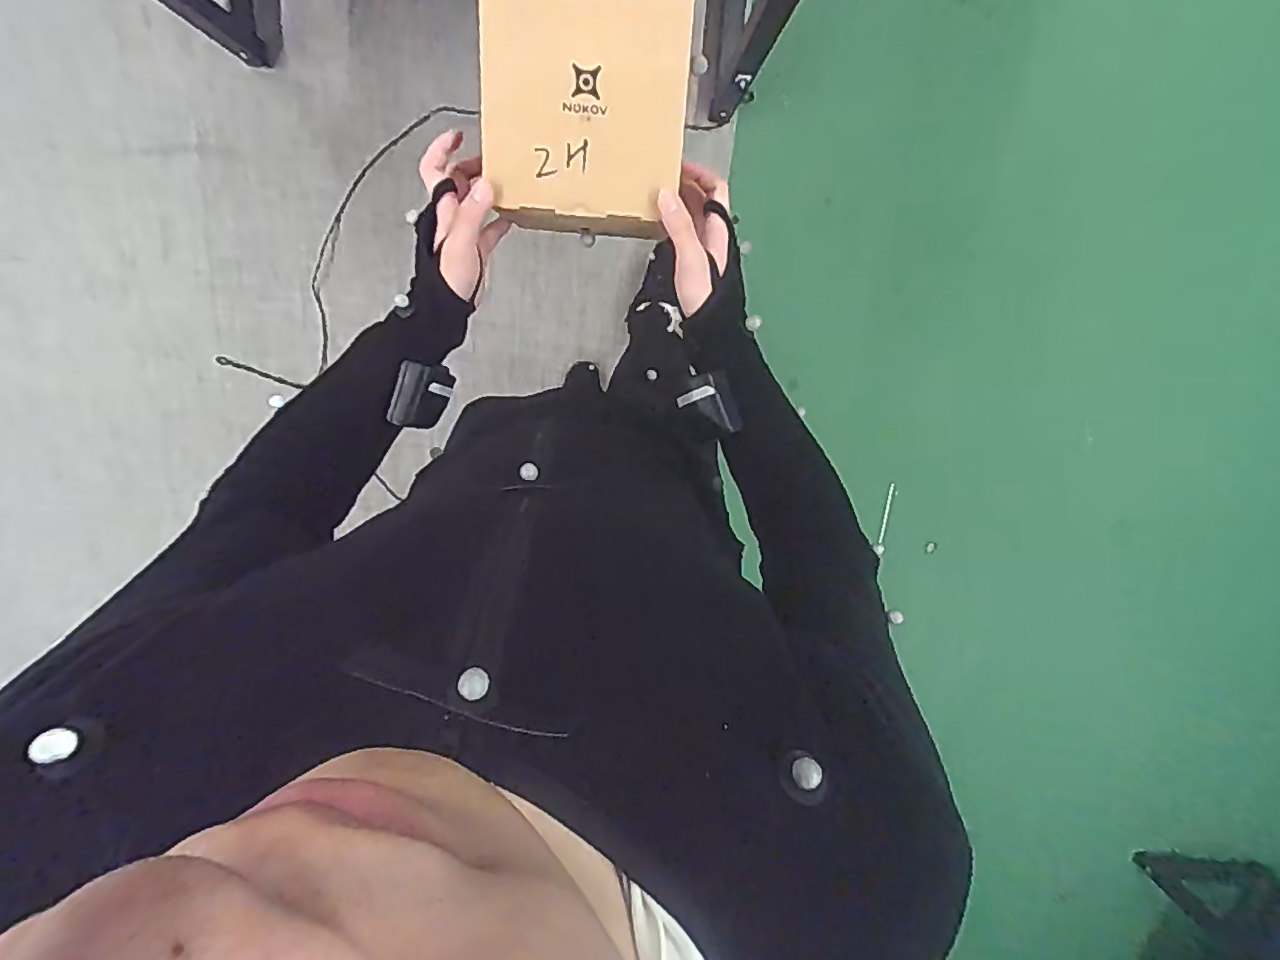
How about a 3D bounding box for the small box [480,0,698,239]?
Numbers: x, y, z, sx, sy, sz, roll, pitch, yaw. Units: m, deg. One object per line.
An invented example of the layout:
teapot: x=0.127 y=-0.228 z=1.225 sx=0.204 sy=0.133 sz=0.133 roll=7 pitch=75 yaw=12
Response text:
small box: x=-0.046 y=-0.335 z=0.503 sx=0.168 sy=0.176 sz=0.179 roll=4 pitch=108 yaw=-3
